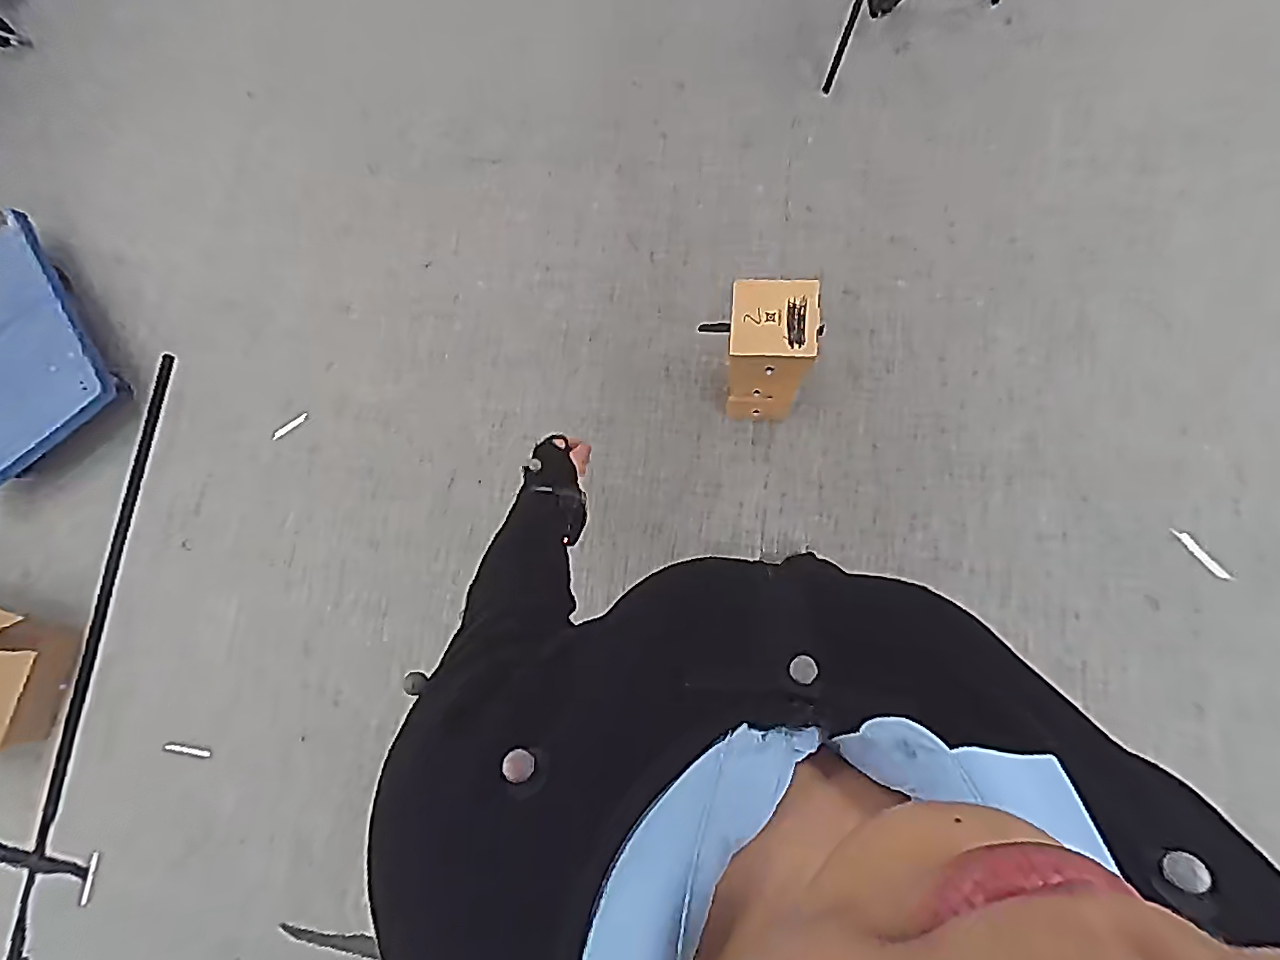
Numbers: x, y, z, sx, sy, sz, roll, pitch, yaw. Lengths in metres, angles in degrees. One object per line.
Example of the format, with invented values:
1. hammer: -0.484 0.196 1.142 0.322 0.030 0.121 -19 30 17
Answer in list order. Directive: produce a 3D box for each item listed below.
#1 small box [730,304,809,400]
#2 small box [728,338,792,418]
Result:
1. small box: 0.314 -0.311 1.334 0.168 0.176 0.179 5 82 9
2. small box: 0.331 -0.275 1.492 0.168 0.176 0.179 3 80 8
